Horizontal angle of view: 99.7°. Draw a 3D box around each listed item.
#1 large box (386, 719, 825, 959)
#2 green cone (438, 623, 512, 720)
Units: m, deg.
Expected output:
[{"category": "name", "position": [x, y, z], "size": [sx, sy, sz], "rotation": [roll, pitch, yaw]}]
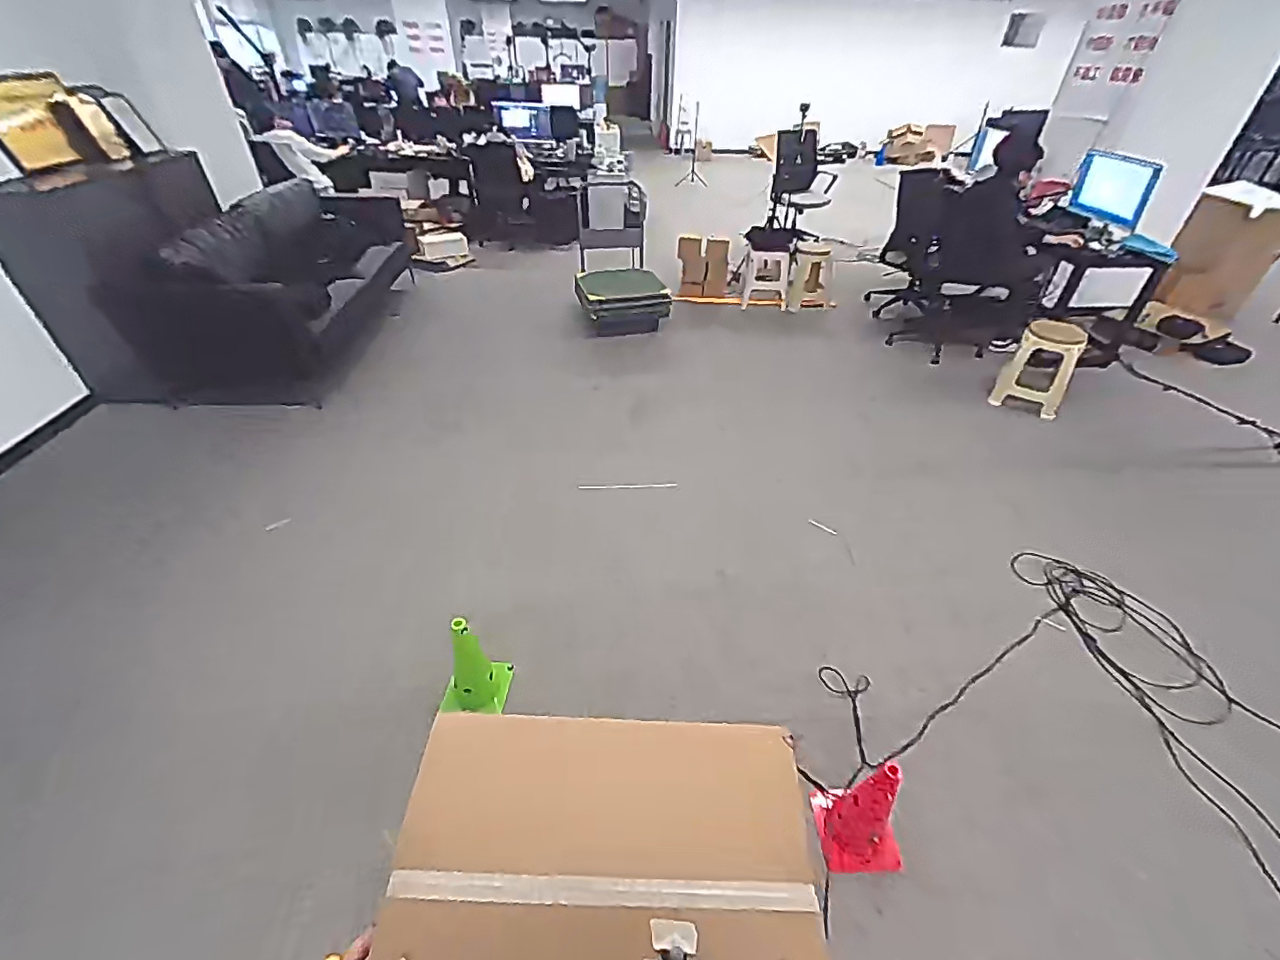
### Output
[{"category": "large box", "position": [-0.036, 0.495, 0.629], "size": [0.408, 0.320, 0.320], "rotation": [3, 48, -1]}, {"category": "green cone", "position": [-0.536, 0.560, 1.661], "size": [0.200, 0.368, 0.202], "rotation": [2, 40, 2]}]
